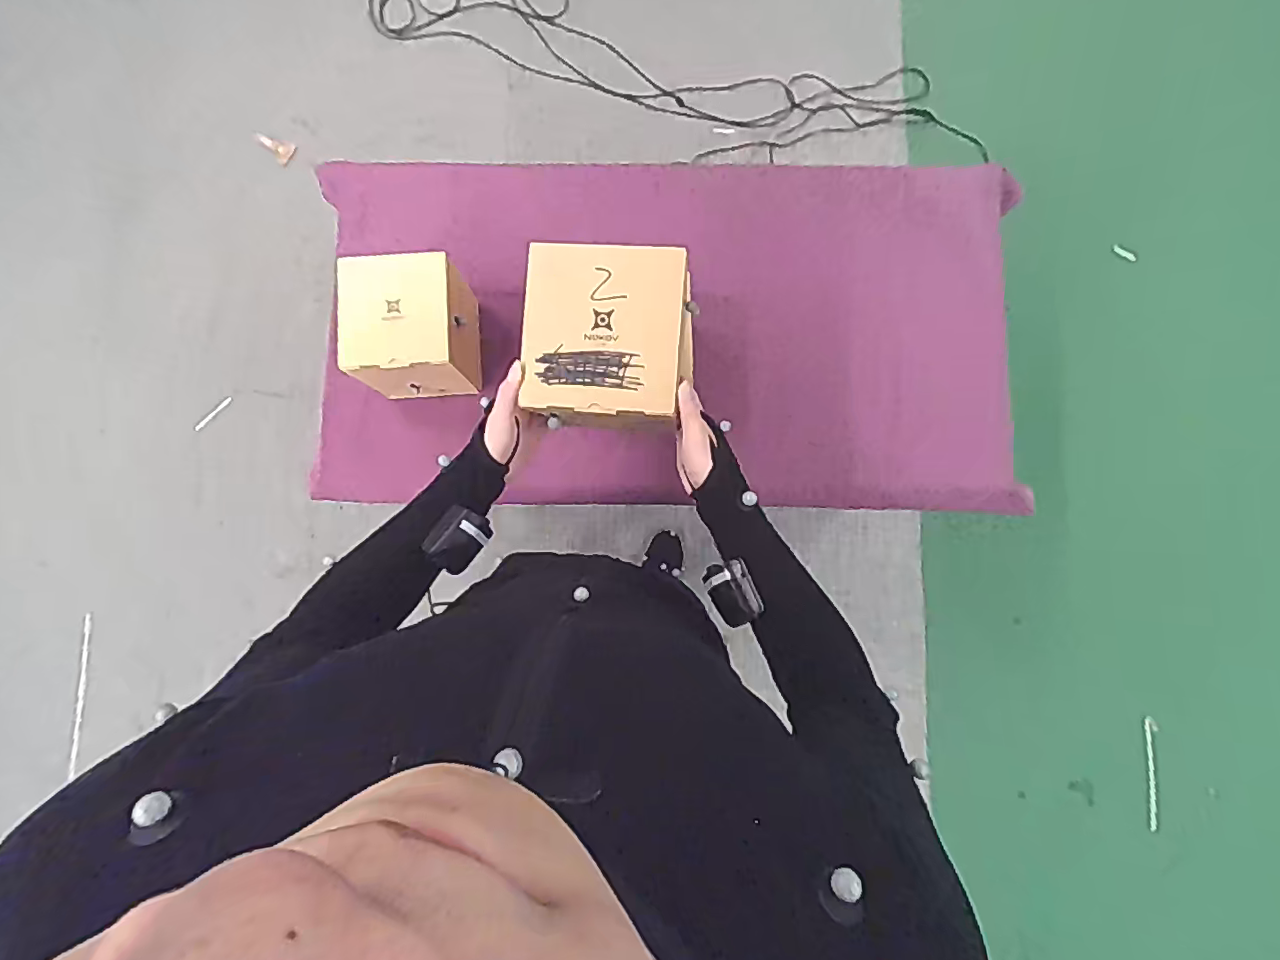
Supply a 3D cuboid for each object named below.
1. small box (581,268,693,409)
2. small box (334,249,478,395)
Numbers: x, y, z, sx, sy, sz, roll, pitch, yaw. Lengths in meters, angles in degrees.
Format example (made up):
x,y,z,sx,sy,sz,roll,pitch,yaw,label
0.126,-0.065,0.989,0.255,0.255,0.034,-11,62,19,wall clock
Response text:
x,y,z,sx,sy,sz,roll,pitch,yaw,label
-0.006,-0.221,0.874,0.168,0.176,0.179,-1,84,0,small box
-0.370,-0.248,0.878,0.168,0.176,0.179,-4,85,-1,small box
